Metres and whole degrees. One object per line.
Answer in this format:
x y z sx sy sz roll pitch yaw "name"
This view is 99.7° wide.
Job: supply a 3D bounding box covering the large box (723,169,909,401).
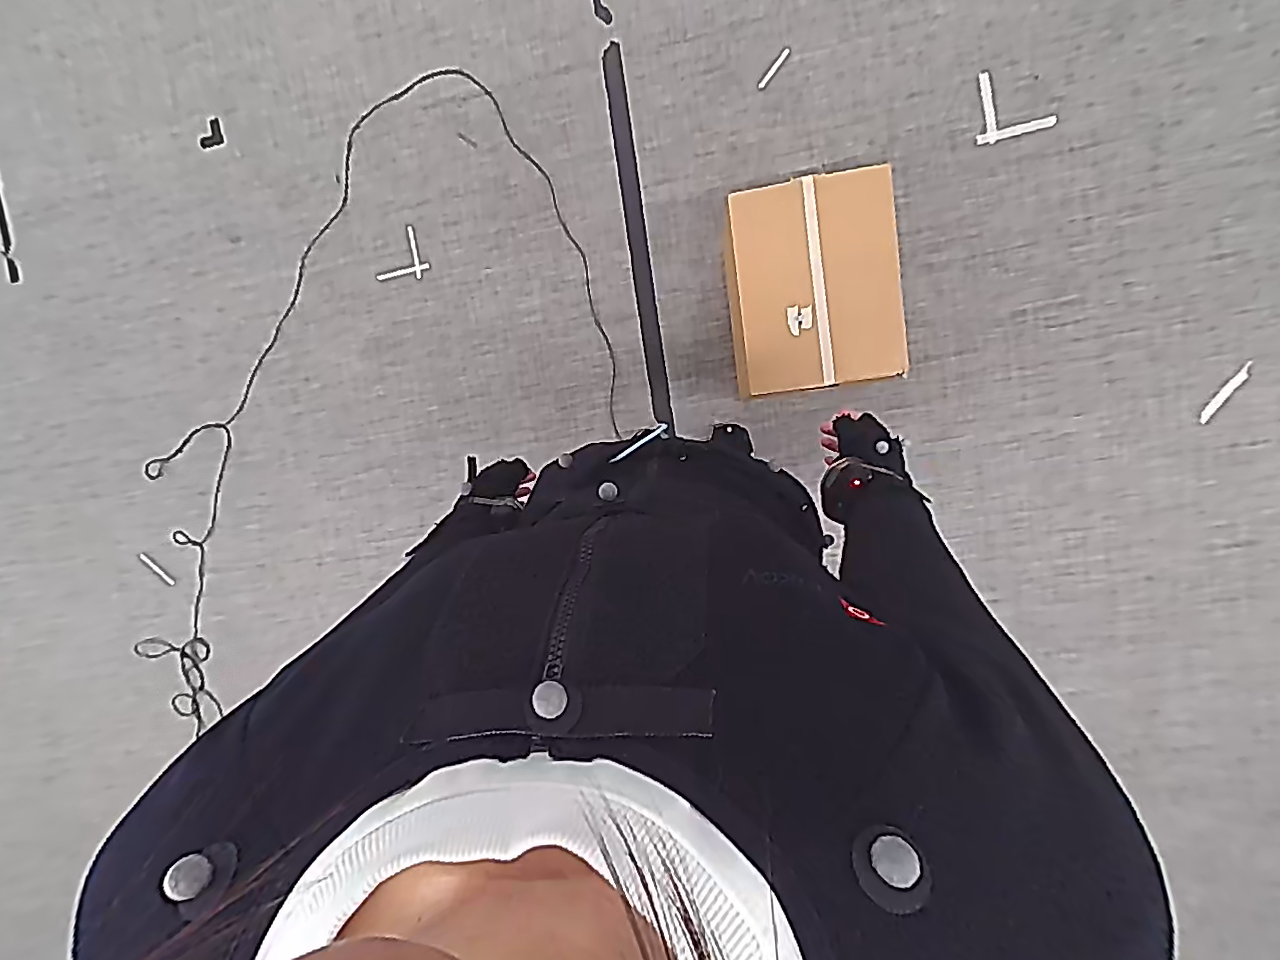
0.374 -0.404 1.225 0.320 0.320 0.408 -8 96 8 "large box"
